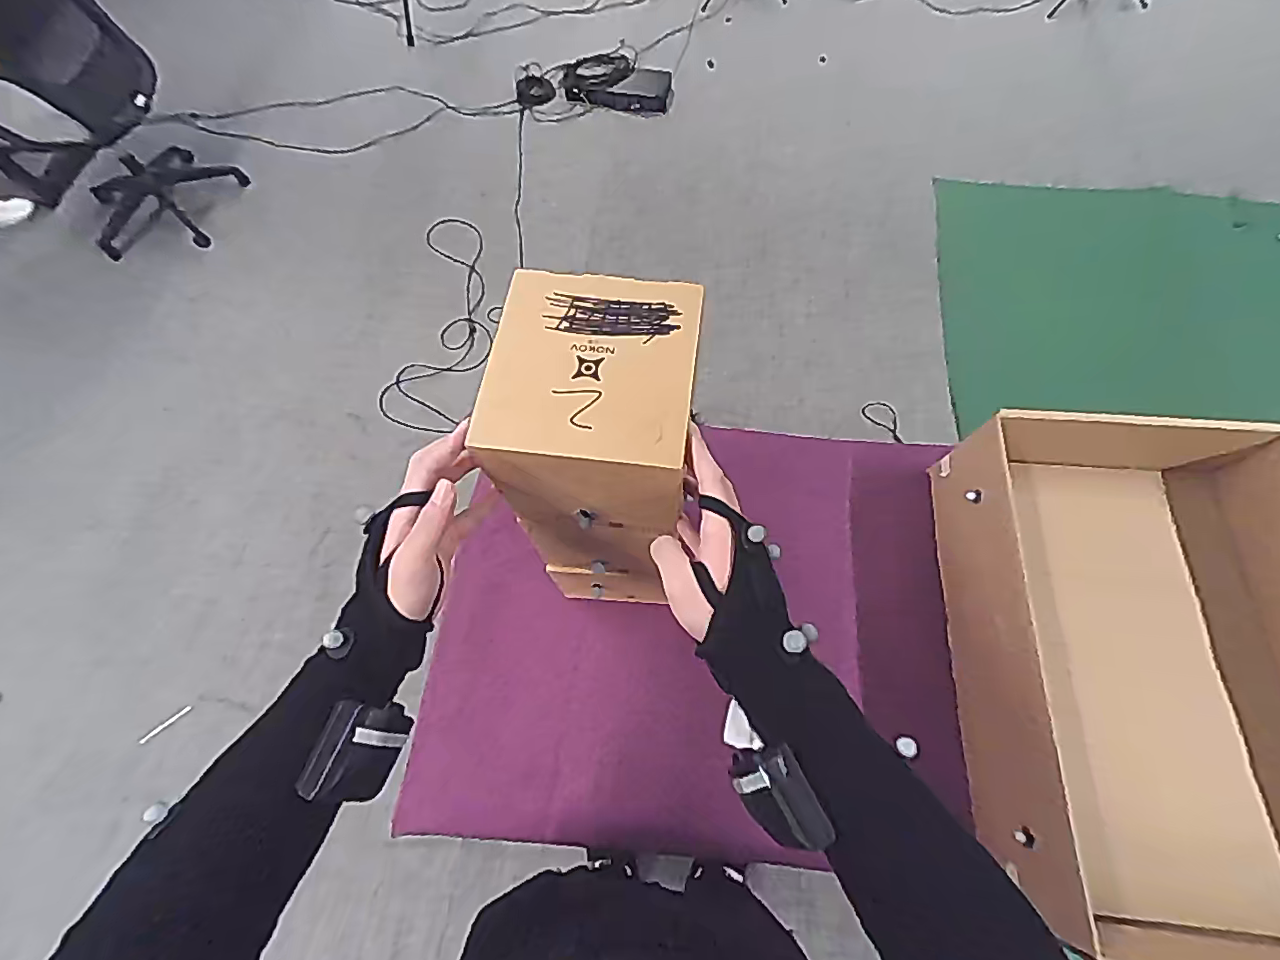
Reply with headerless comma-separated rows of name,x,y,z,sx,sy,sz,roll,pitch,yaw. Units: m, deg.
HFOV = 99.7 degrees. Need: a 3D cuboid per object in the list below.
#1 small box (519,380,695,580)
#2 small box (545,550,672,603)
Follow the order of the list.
small box,-0.030,0.006,0.653,0.168,0.176,0.179,7,66,6
small box,-0.032,0.078,0.801,0.168,0.176,0.179,3,64,4
